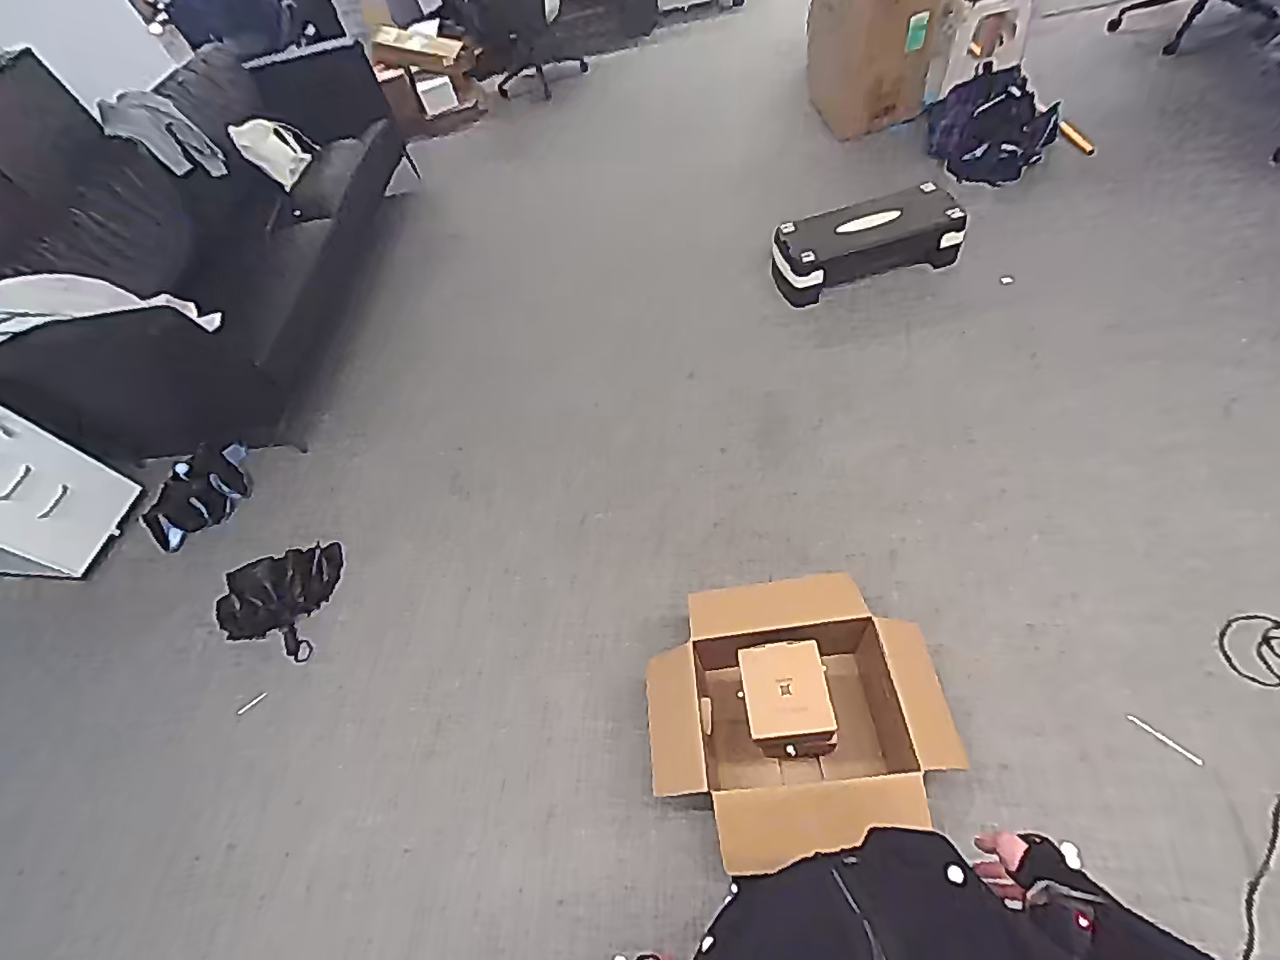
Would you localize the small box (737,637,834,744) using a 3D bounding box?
[{"bbox_3d":[0.305,0.454,1.157,0.168,0.176,0.179,-11,57,9],"label":"small box"}]
